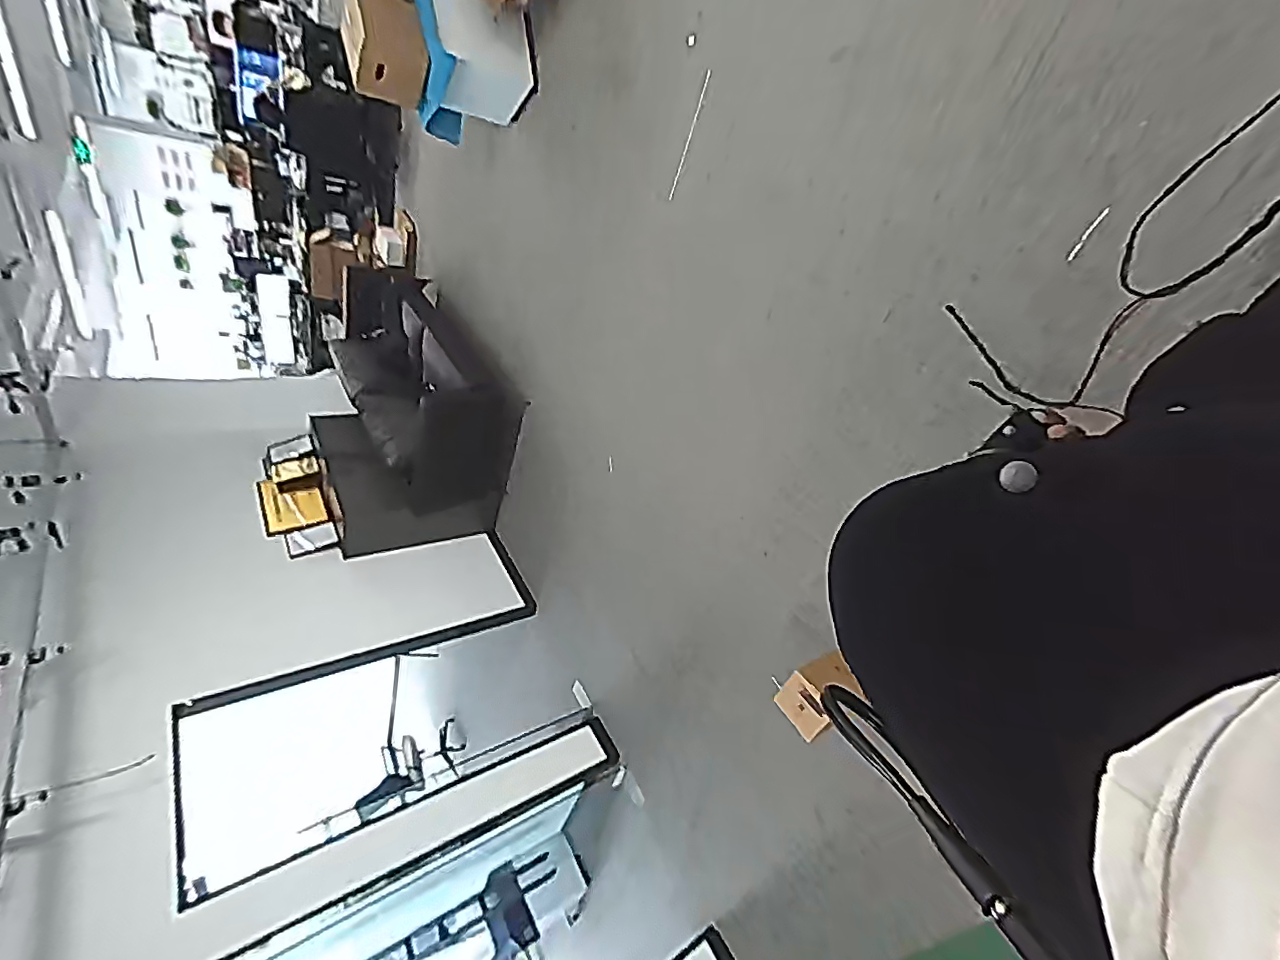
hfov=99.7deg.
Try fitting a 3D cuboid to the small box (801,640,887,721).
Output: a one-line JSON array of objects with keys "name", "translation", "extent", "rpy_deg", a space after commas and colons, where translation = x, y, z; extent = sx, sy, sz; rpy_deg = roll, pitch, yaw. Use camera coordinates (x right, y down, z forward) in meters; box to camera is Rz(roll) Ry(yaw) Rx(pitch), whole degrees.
[{"name": "small box", "translation": [0.695, 0.673, 1.835], "extent": [0.179, 0.176, 0.168], "rpy_deg": [50, 132, 36]}]
